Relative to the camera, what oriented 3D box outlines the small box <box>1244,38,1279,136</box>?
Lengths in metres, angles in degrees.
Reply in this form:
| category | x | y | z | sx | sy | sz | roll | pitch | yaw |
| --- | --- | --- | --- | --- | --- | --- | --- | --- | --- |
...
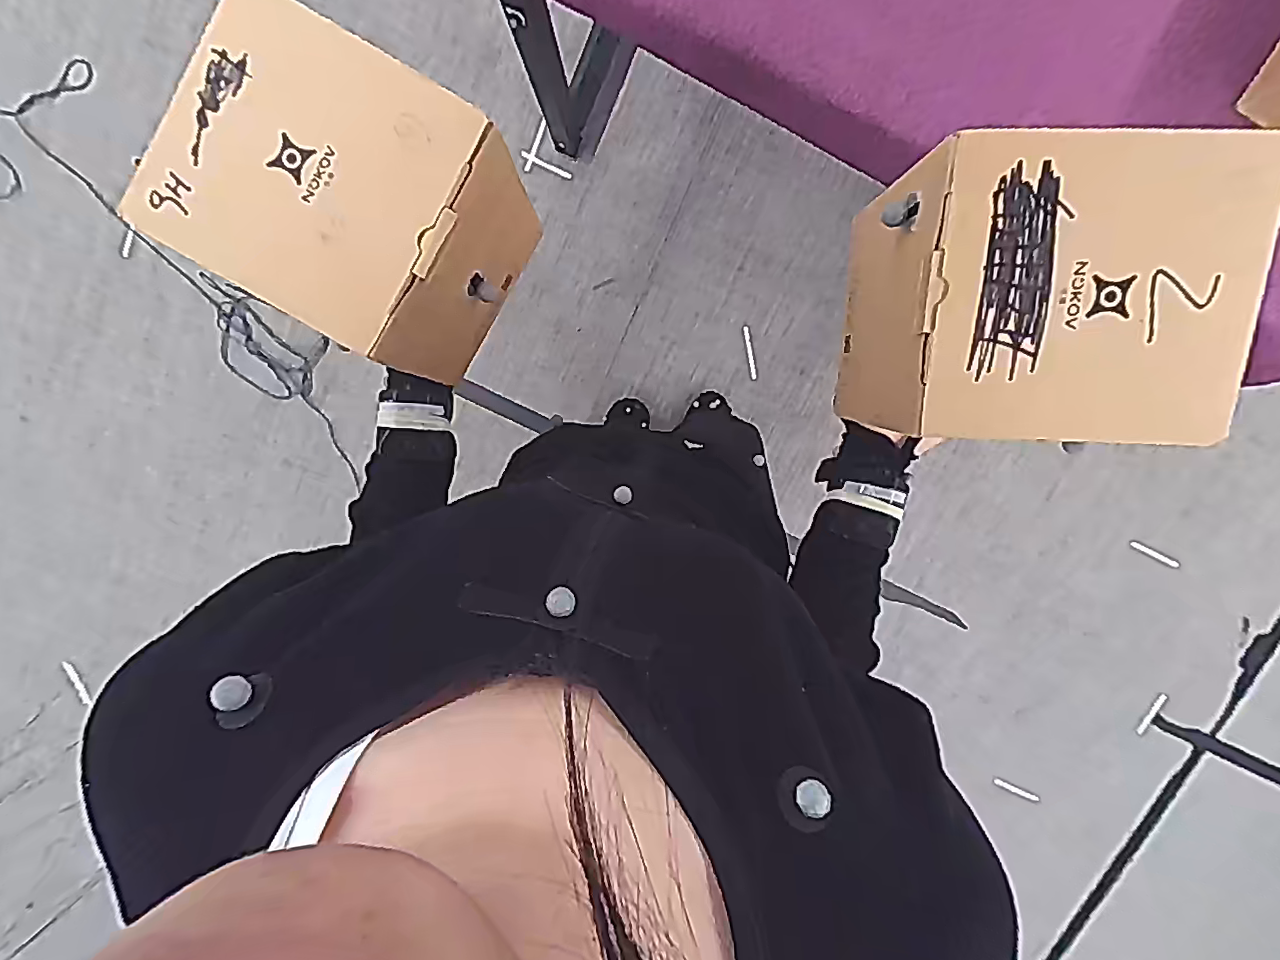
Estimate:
| category | x | y | z | sx | sy | sz | roll | pitch | yaw |
| --- | --- | --- | --- | --- | --- | --- | --- | --- | --- |
| small box | 0.839 | -0.477 | 0.583 | 0.168 | 0.176 | 0.179 | 30 | 98 | -4 |

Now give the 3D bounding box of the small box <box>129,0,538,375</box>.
| category | x | y | z | sx | sy | sz | roll | pitch | yaw |
| --- | --- | --- | --- | --- | --- | --- | --- | --- | --- |
| small box | -0.196 | -0.192 | 0.405 | 0.179 | 0.176 | 0.168 | 30 | 93 | -3 |
